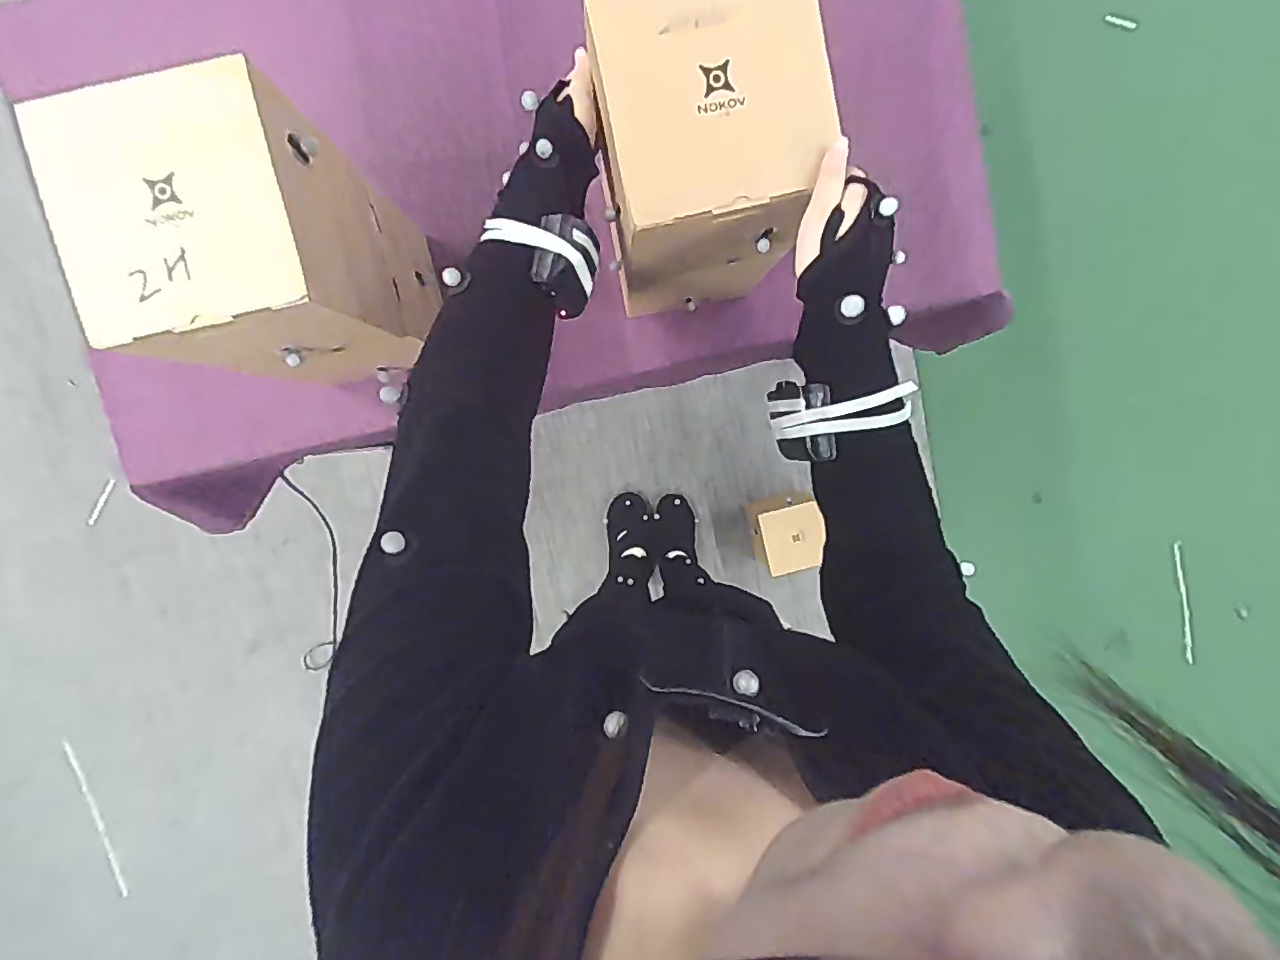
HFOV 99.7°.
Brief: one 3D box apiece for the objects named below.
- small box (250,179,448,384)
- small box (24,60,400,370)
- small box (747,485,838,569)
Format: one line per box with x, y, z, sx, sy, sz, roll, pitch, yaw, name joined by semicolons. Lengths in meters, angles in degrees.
-0.342;-0.216;0.634;0.179;0.176;0.168;-15;96;-1;small box
-0.338;-0.204;0.468;0.168;0.176;0.179;-13;96;0;small box
0.392;0.118;1.427;0.179;0.176;0.168;-15;96;-1;small box
